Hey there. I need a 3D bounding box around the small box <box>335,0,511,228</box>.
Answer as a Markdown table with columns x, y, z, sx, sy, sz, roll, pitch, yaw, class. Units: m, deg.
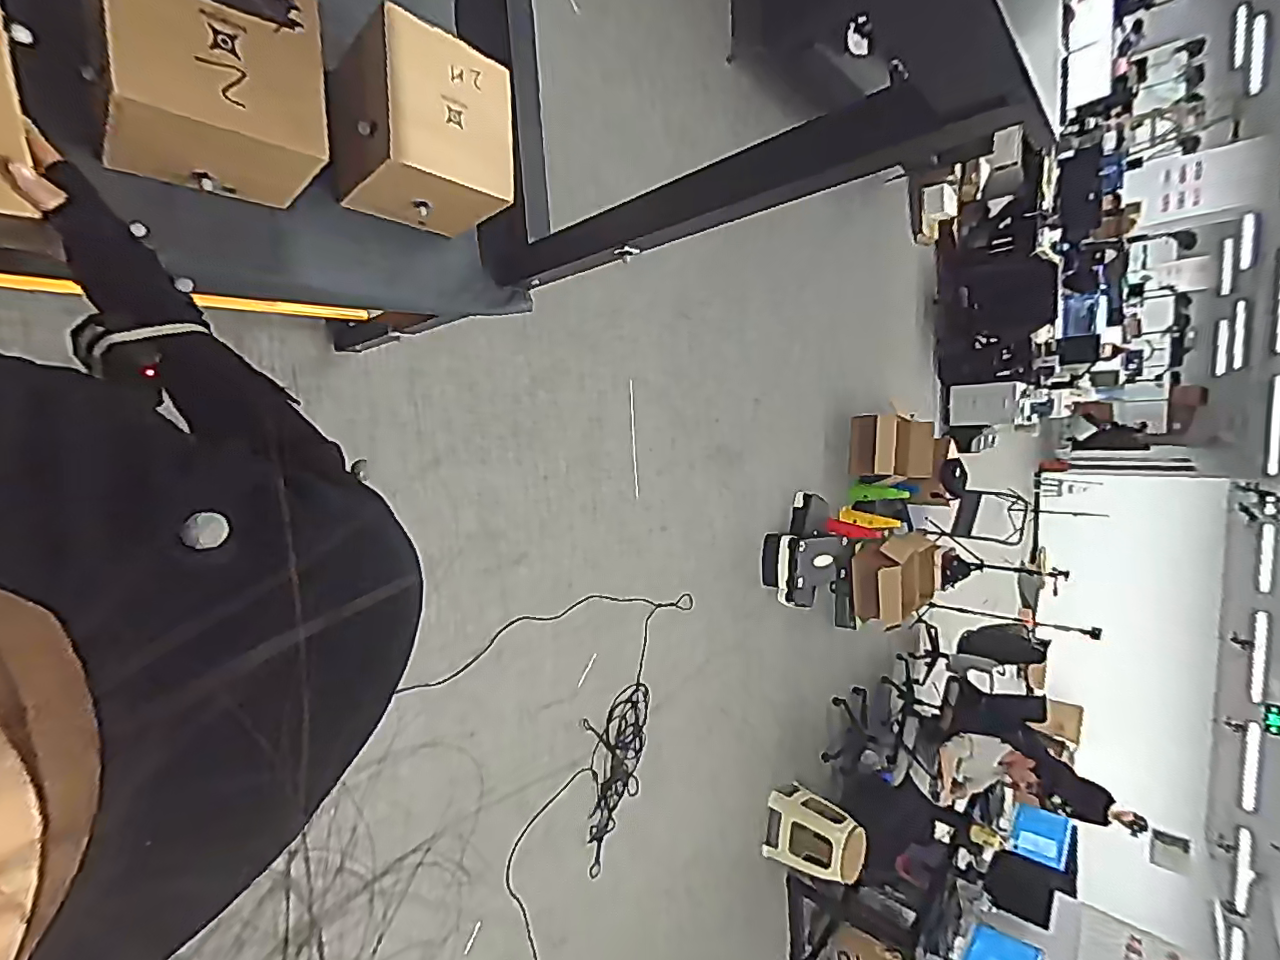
| x | y | z | sx | sy | sz | roll | pitch | yaw | class |
| --- | --- | --- | --- | --- | --- | --- | --- | --- | --- |
| -0.288 | -0.460 | 0.717 | 0.168 | 0.176 | 0.179 | -5 | 95 | -47 | small box |
